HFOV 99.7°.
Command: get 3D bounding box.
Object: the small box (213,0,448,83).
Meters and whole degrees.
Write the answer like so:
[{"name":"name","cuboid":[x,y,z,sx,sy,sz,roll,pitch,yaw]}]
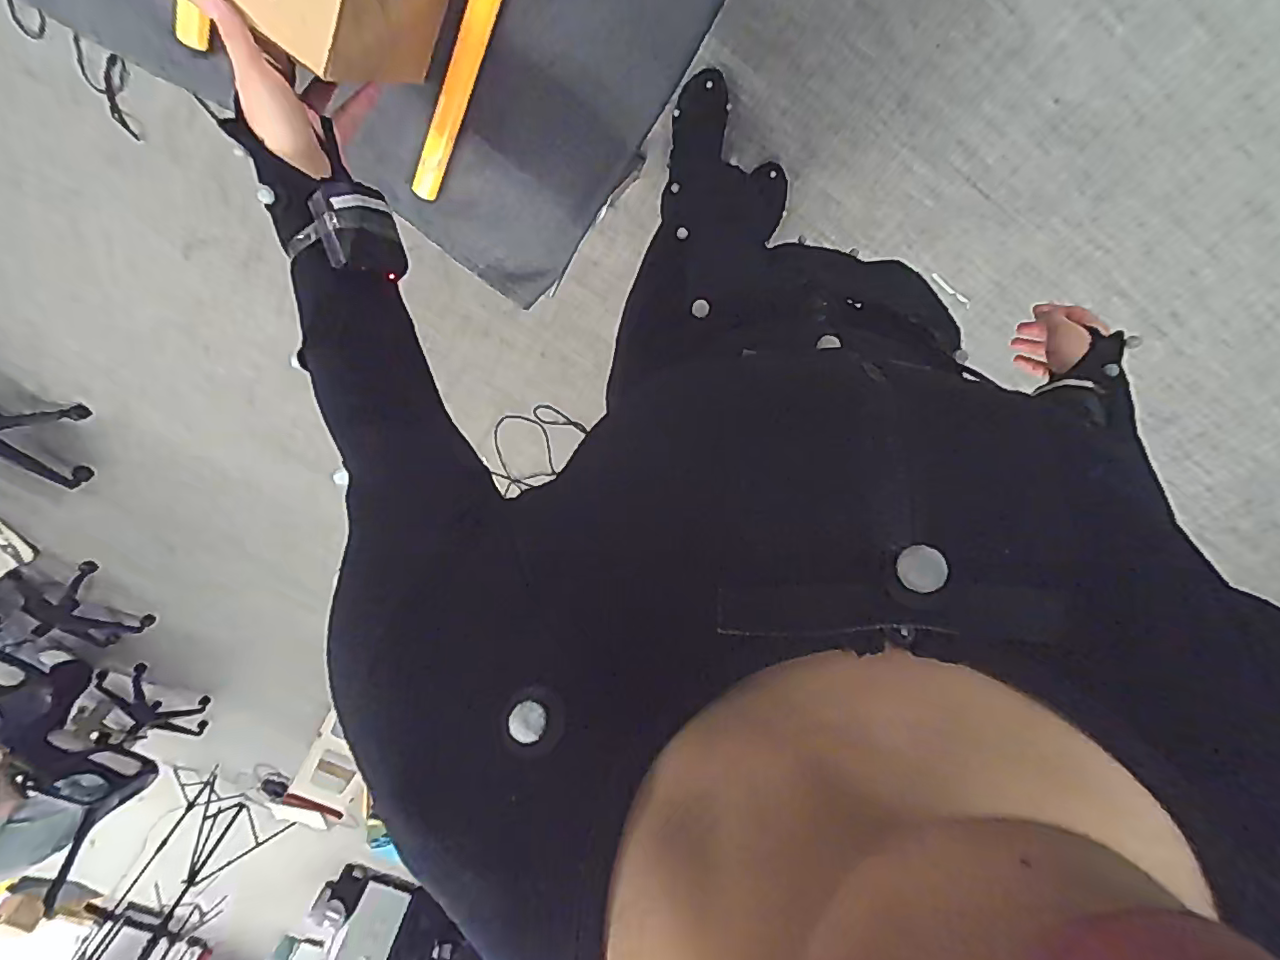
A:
[{"name":"small box","cuboid":[-0.245,-0.445,0.414,0.168,0.176,0.179,31,124,-14]}]
